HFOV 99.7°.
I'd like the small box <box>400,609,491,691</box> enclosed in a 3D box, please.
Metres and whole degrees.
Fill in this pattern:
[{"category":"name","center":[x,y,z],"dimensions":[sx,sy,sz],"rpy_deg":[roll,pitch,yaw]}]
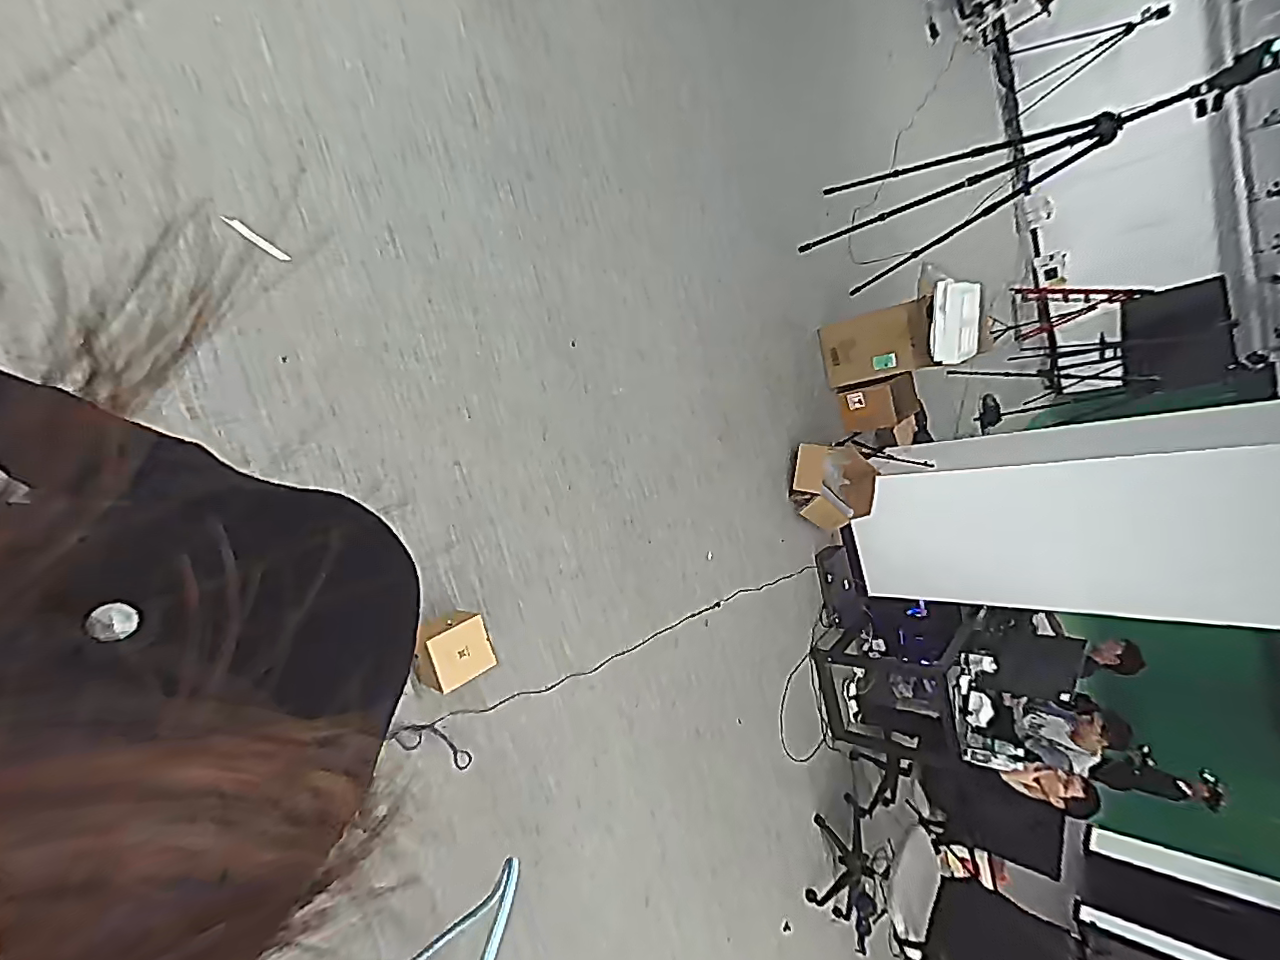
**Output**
[{"category":"small box","center":[-0.582,0.499,1.614],"dimensions":[0.179,0.176,0.168],"rpy_deg":[-22,100,-43]}]
